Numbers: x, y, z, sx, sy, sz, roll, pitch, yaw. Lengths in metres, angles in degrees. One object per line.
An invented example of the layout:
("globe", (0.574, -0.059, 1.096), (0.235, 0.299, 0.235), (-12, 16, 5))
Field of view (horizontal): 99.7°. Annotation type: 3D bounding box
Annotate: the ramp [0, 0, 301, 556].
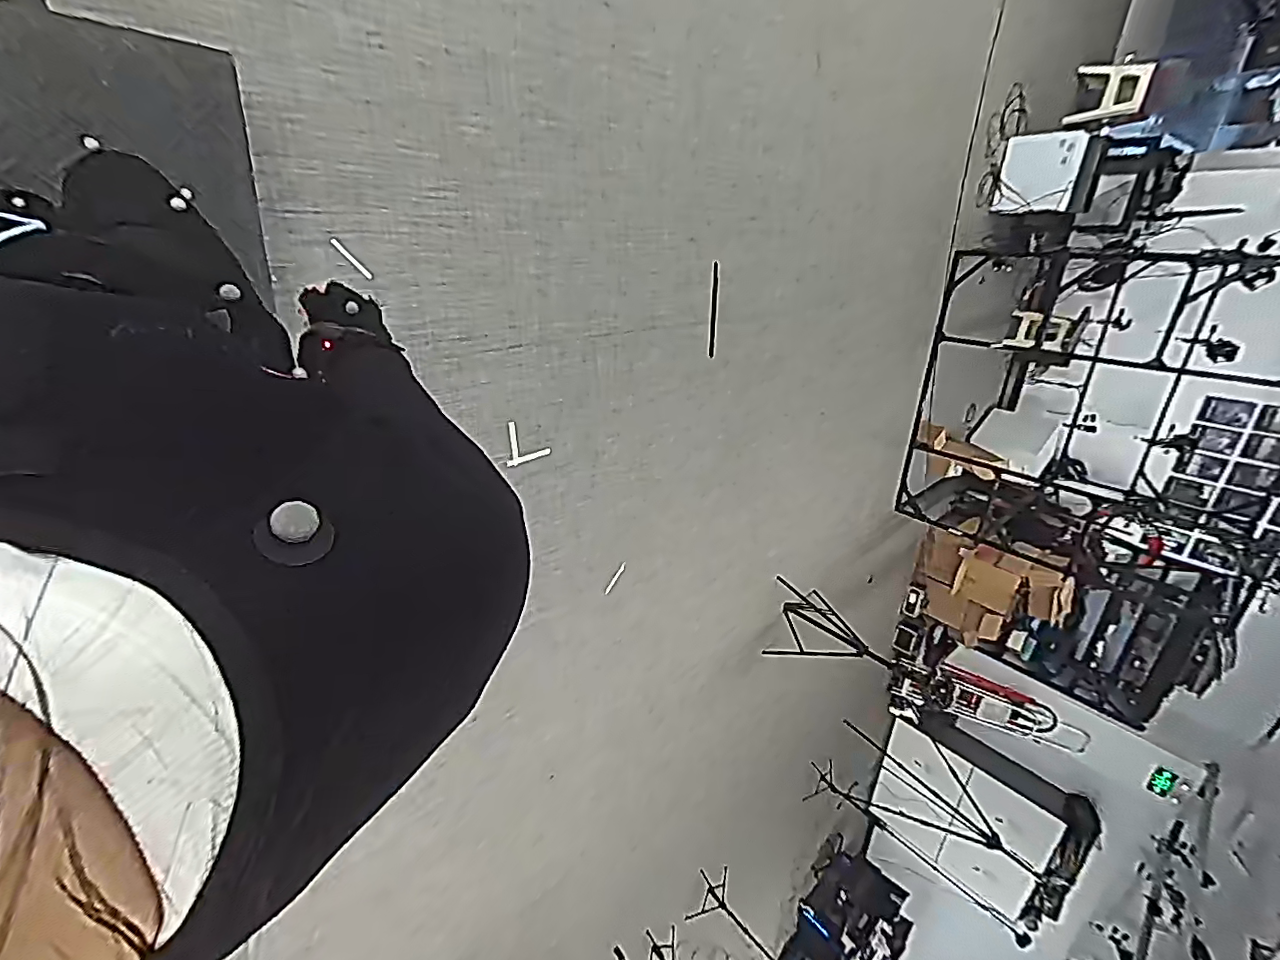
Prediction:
("ramp", (-1.009, -0.308, 1.060), (0.509, 0.206, 0.991), (-19, 122, -39))
